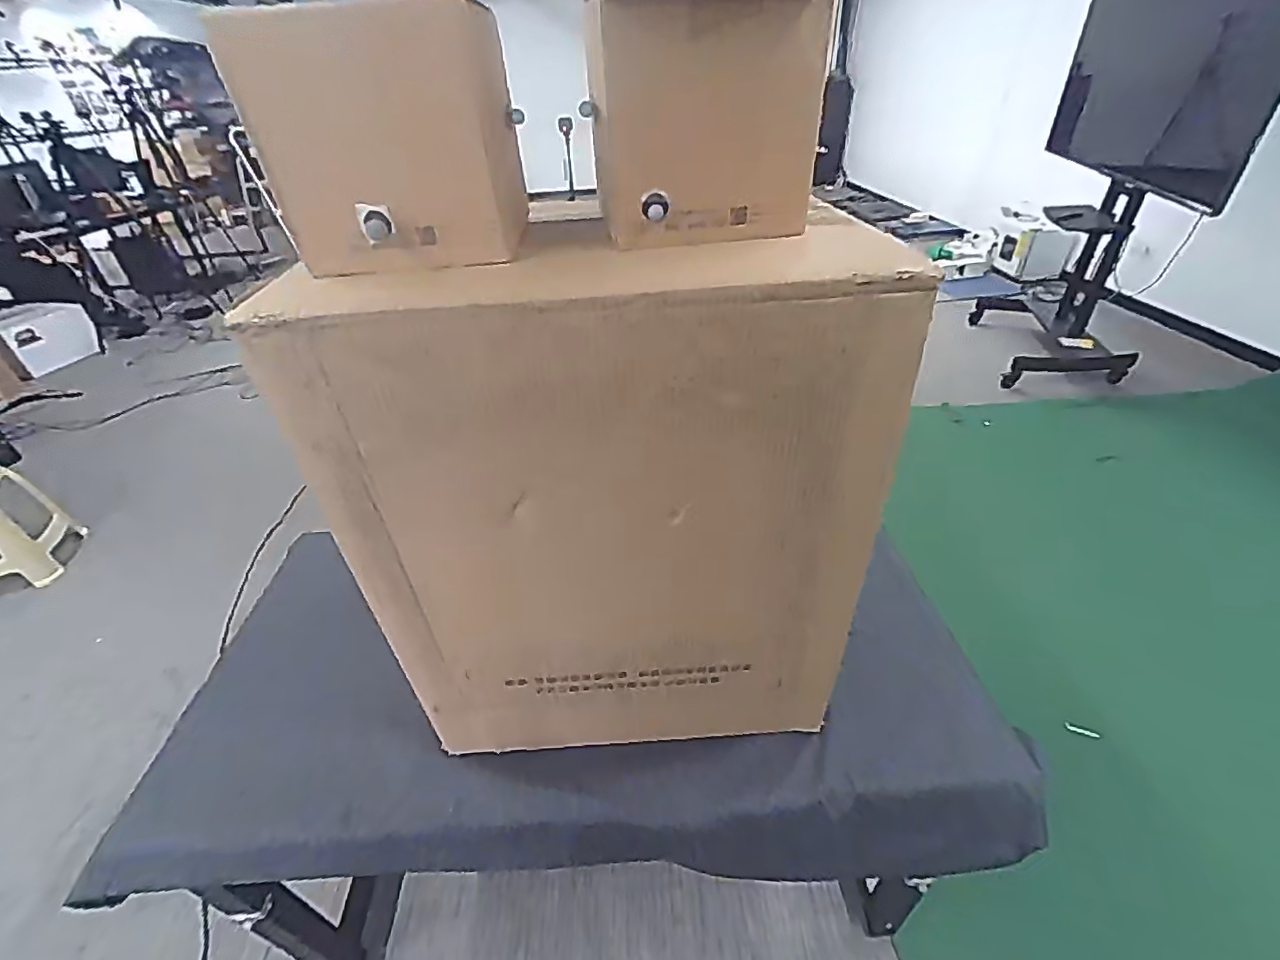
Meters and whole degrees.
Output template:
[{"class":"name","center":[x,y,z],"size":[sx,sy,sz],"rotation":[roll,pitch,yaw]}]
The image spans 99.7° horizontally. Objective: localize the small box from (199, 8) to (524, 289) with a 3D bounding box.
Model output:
[{"class":"small box","center":[-0.201,-0.278,0.459],"size":[0.168,0.176,0.179],"rotation":[-7,40,0]}]

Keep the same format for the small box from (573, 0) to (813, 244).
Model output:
[{"class":"small box","center":[0.037,-0.315,0.475],"size":[0.168,0.176,0.179],"rotation":[-8,38,-5]}]
